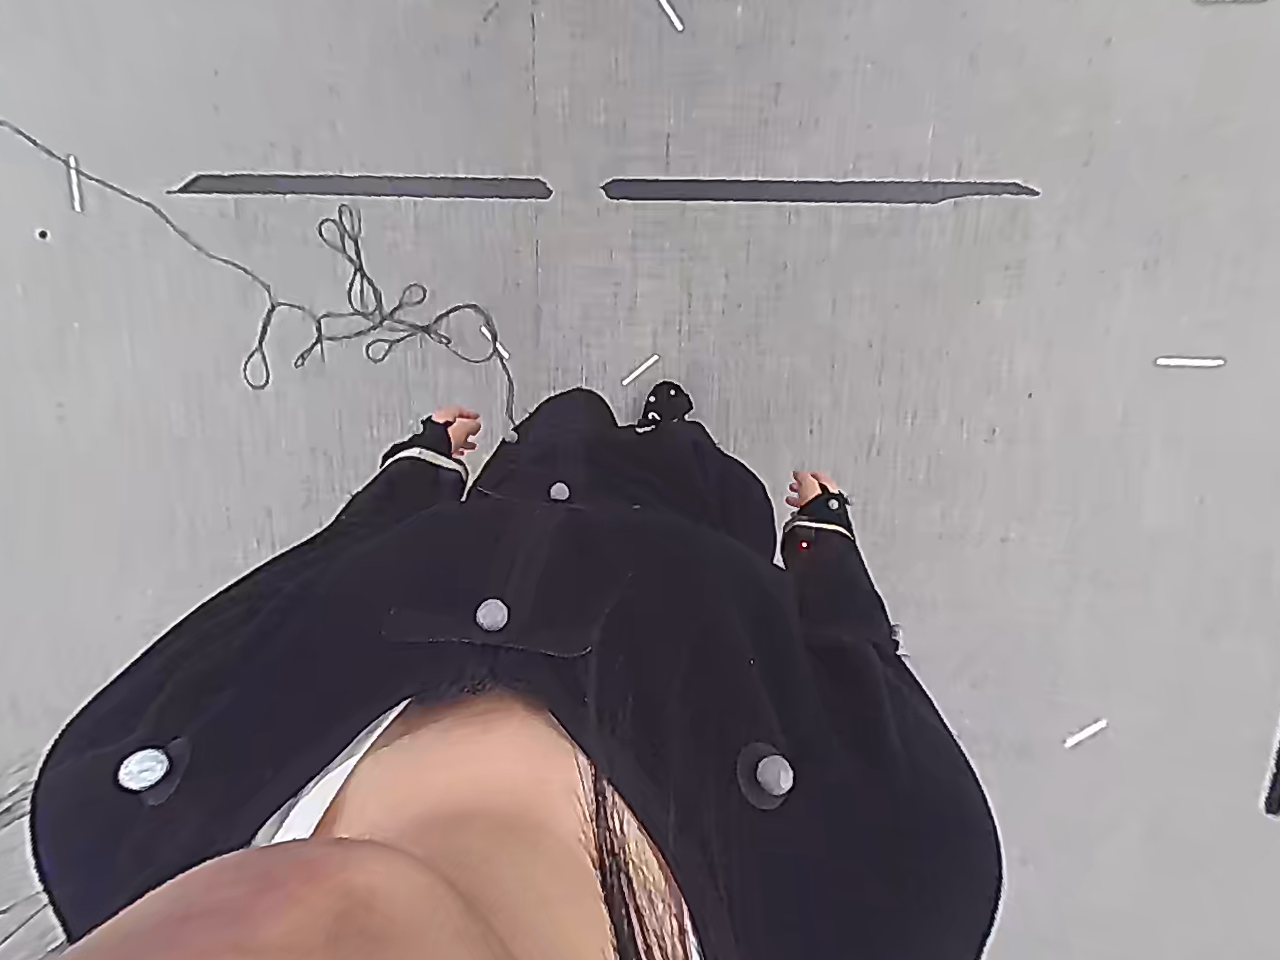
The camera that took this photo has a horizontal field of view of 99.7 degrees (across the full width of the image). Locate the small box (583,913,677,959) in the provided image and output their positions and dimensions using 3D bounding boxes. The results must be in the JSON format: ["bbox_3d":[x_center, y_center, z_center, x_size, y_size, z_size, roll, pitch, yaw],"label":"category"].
[{"bbox_3d":[-0.026,0.912,0.945,0.168,0.176,0.179,7,100,3],"label":"small box"}]
